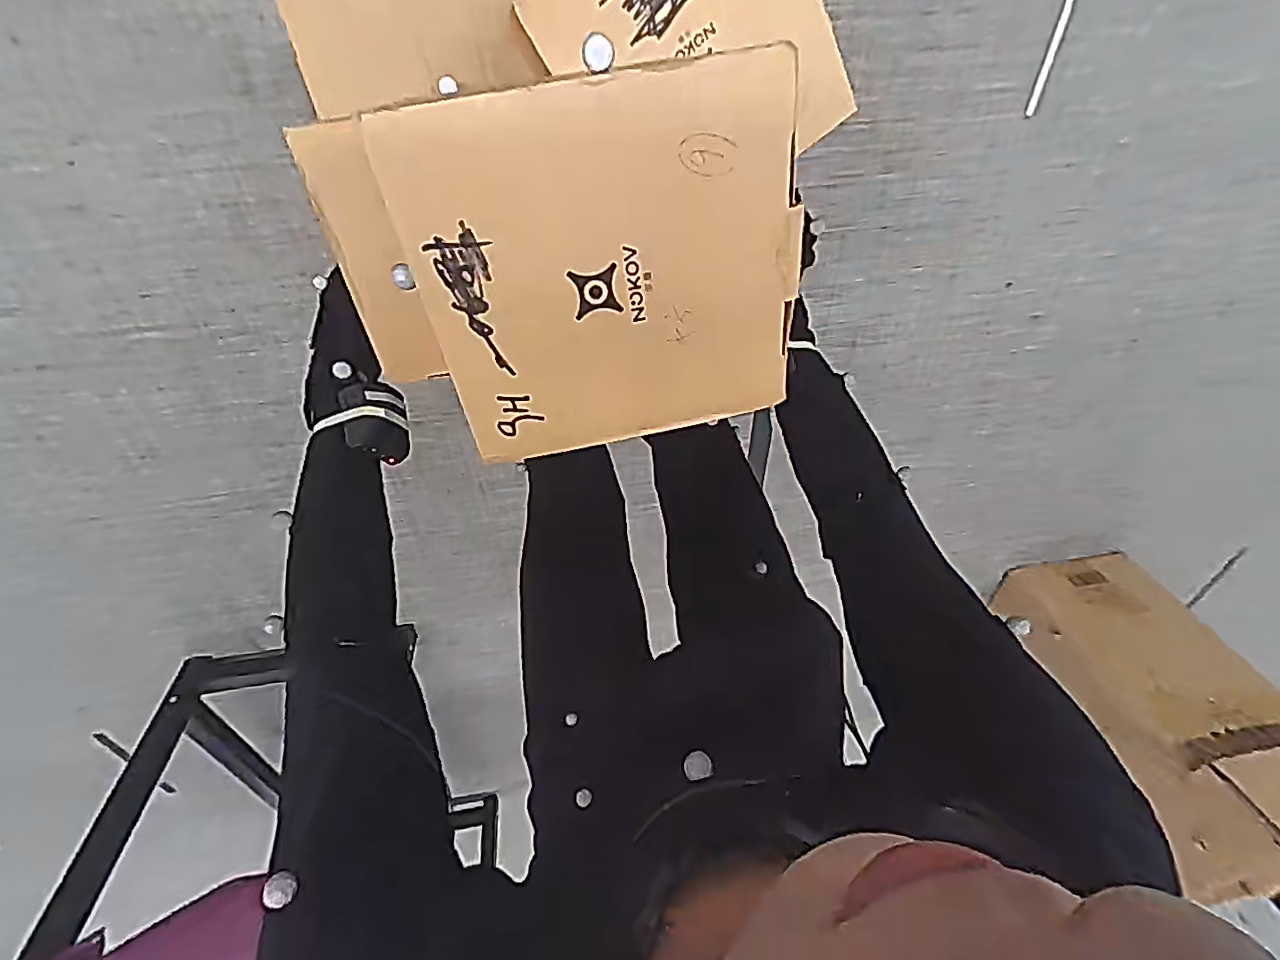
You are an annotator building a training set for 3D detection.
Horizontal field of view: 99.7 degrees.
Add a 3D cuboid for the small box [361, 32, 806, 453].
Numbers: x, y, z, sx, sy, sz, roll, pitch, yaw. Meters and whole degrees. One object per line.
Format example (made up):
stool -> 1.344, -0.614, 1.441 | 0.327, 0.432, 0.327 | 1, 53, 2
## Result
small box -> -0.026, -0.142, 0.314 | 0.179, 0.176, 0.168 | -12, 127, -4
